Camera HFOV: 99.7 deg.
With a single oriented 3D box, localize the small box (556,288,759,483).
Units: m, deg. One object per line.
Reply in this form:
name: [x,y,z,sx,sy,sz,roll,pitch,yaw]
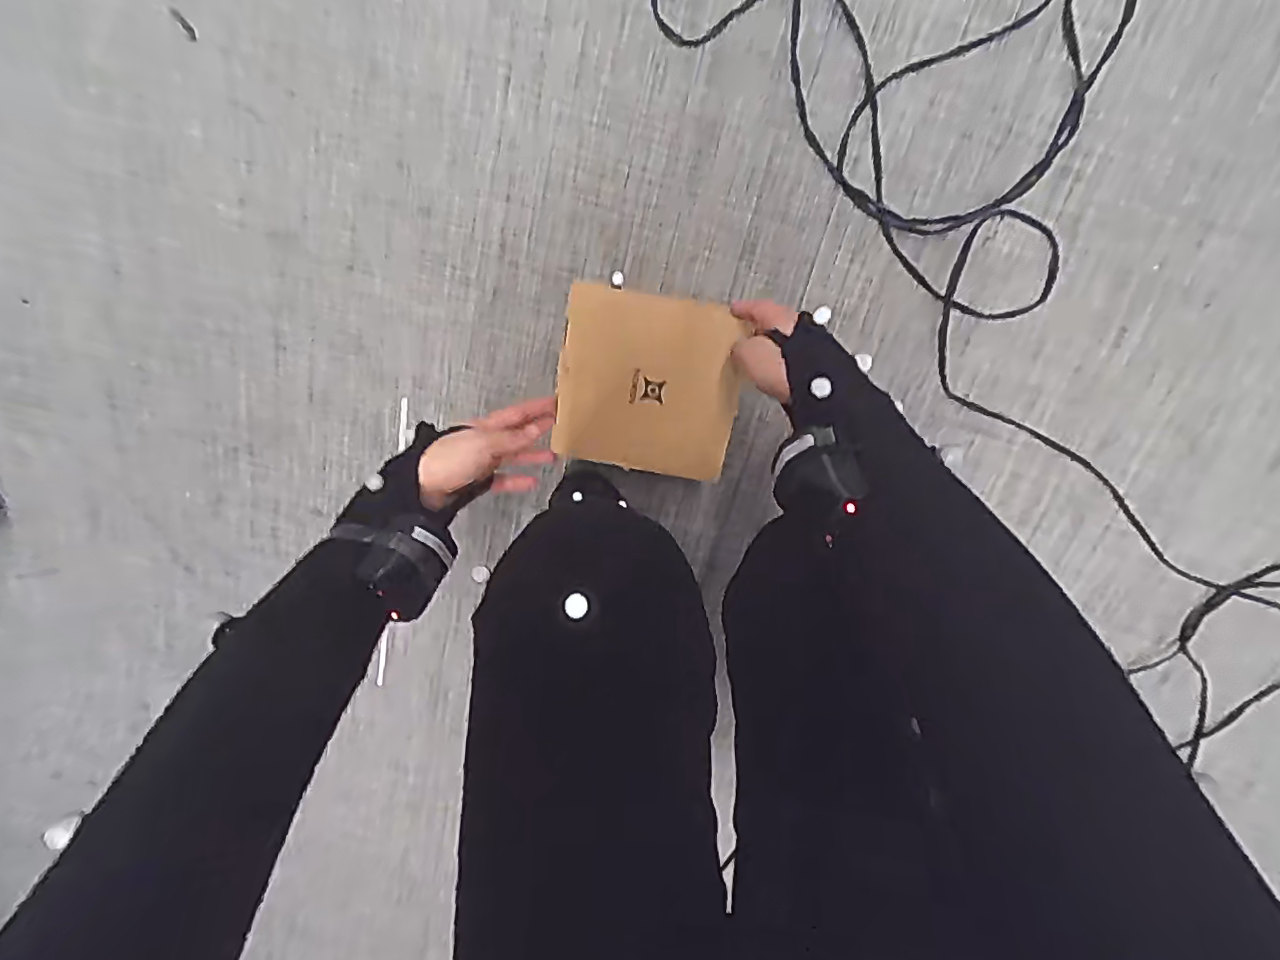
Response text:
small box: [0.017,-0.115,0.604,0.179,0.176,0.168,11,111,0]
